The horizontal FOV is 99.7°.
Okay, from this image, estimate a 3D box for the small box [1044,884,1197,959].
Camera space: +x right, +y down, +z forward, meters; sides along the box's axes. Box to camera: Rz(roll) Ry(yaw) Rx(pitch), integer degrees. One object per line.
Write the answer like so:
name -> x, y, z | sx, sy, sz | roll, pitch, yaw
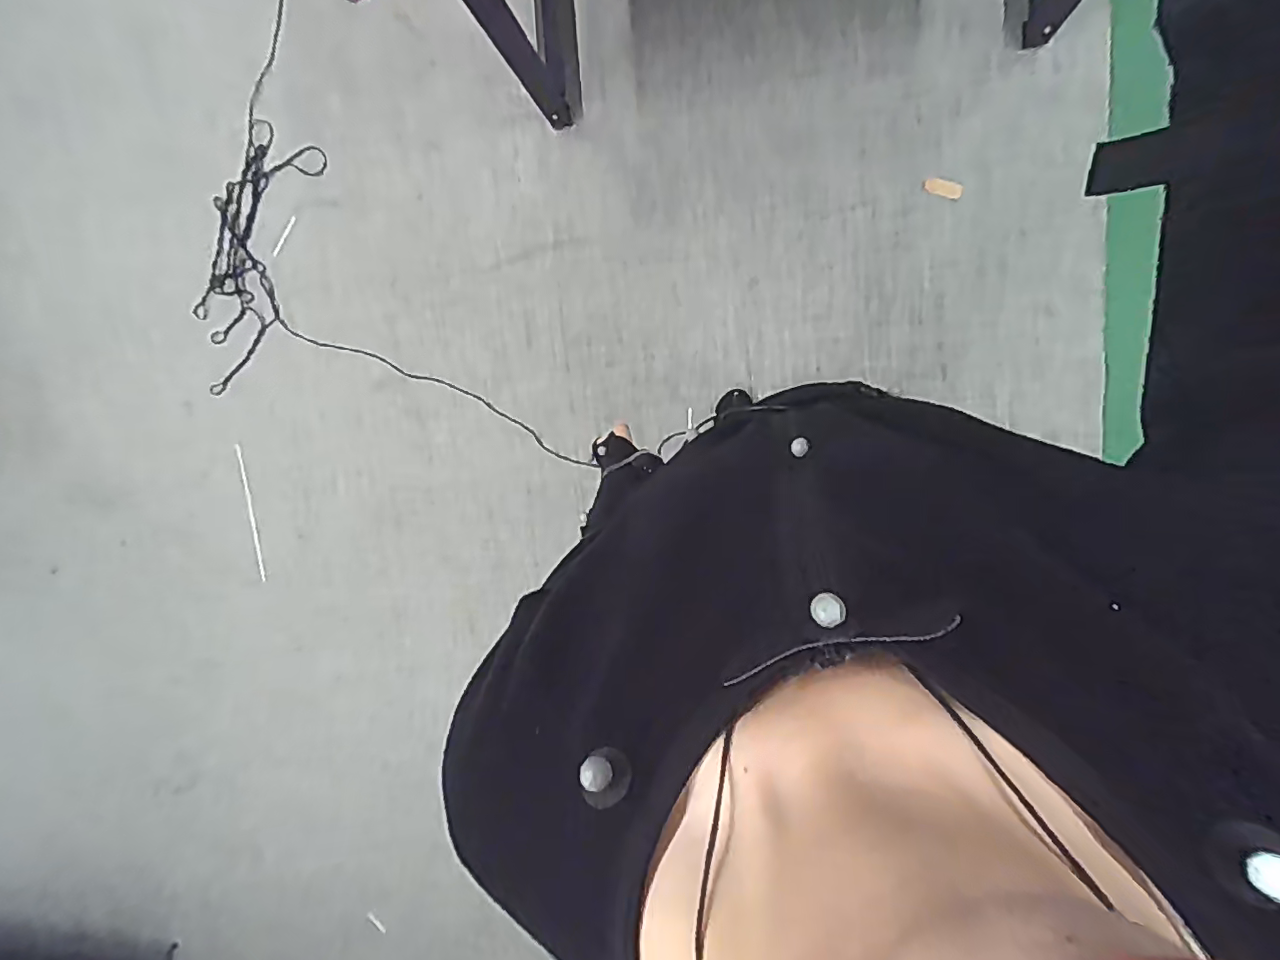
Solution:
small box -> 0.949, 0.938, 1.066 | 0.179, 0.176, 0.168 | -15, 93, 14
